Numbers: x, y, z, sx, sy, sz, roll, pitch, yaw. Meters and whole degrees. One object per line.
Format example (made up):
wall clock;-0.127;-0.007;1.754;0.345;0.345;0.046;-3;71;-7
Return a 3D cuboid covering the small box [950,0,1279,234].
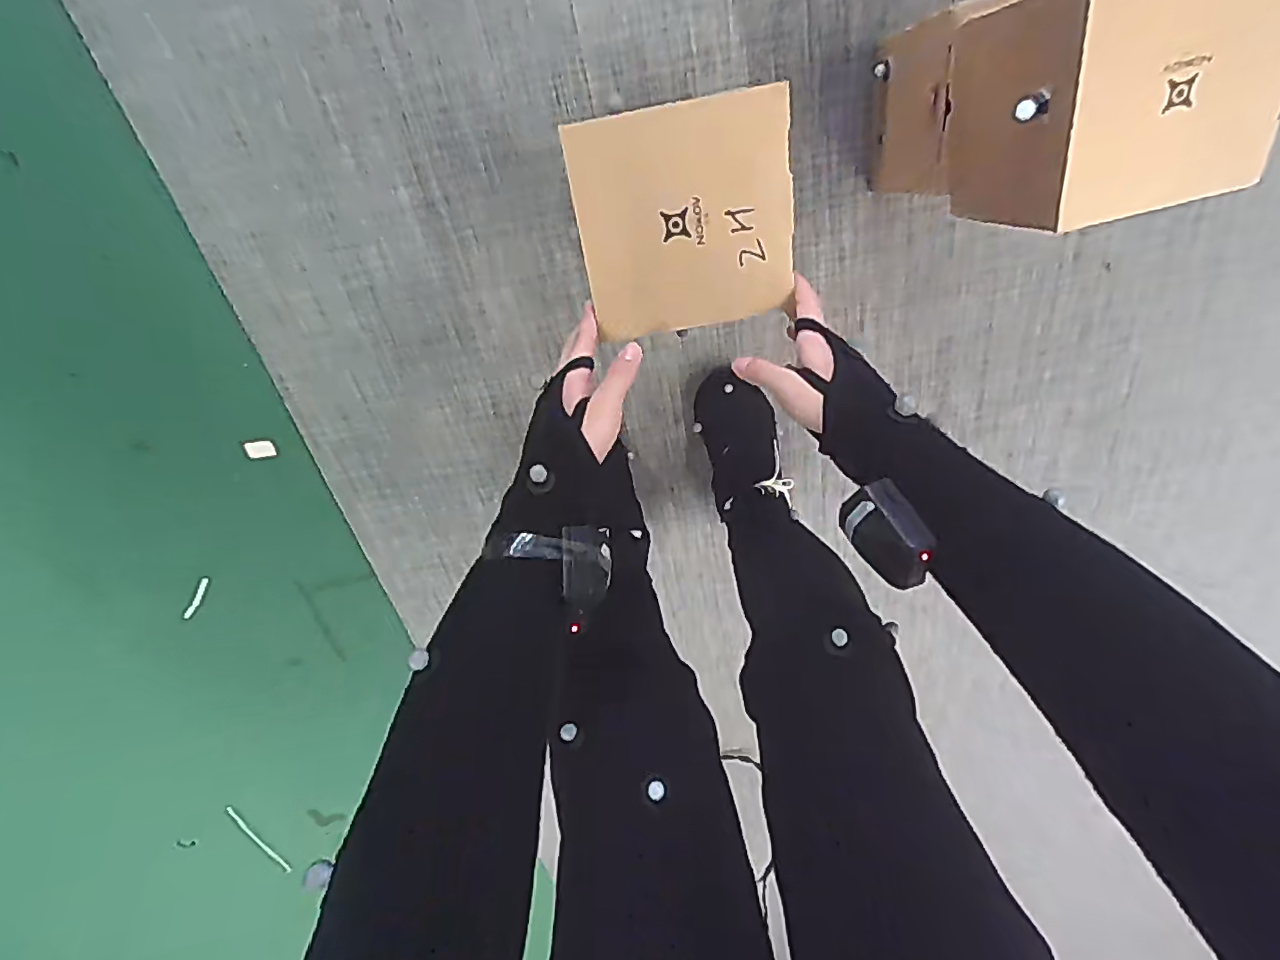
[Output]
small box;0.401;-0.337;0.479;0.168;0.176;0.179;-13;118;5

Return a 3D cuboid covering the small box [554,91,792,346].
small box;0.031;-0.234;0.507;0.179;0.176;0.168;-10;115;2

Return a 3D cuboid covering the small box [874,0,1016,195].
small box;0.385;-0.428;0.614;0.179;0.176;0.168;-10;119;2
